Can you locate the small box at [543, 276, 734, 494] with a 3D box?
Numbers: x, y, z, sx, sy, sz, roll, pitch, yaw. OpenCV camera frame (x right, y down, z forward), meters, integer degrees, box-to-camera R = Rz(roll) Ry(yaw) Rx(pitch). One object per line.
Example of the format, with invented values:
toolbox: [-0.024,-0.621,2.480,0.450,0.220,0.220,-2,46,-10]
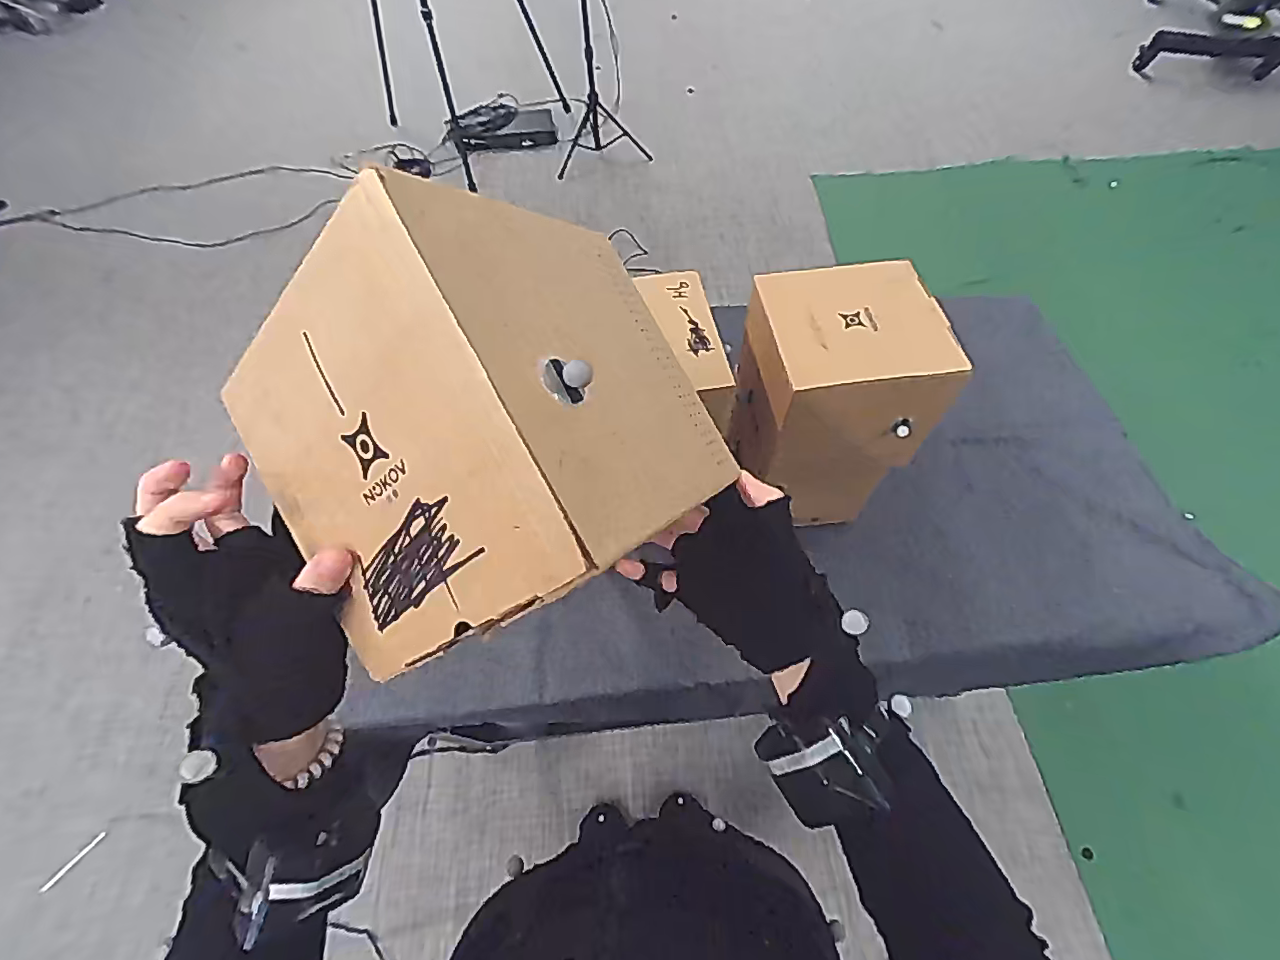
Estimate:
small box: [-0.003,-0.099,0.618,0.179,0.176,0.168,-10,61,-3]
